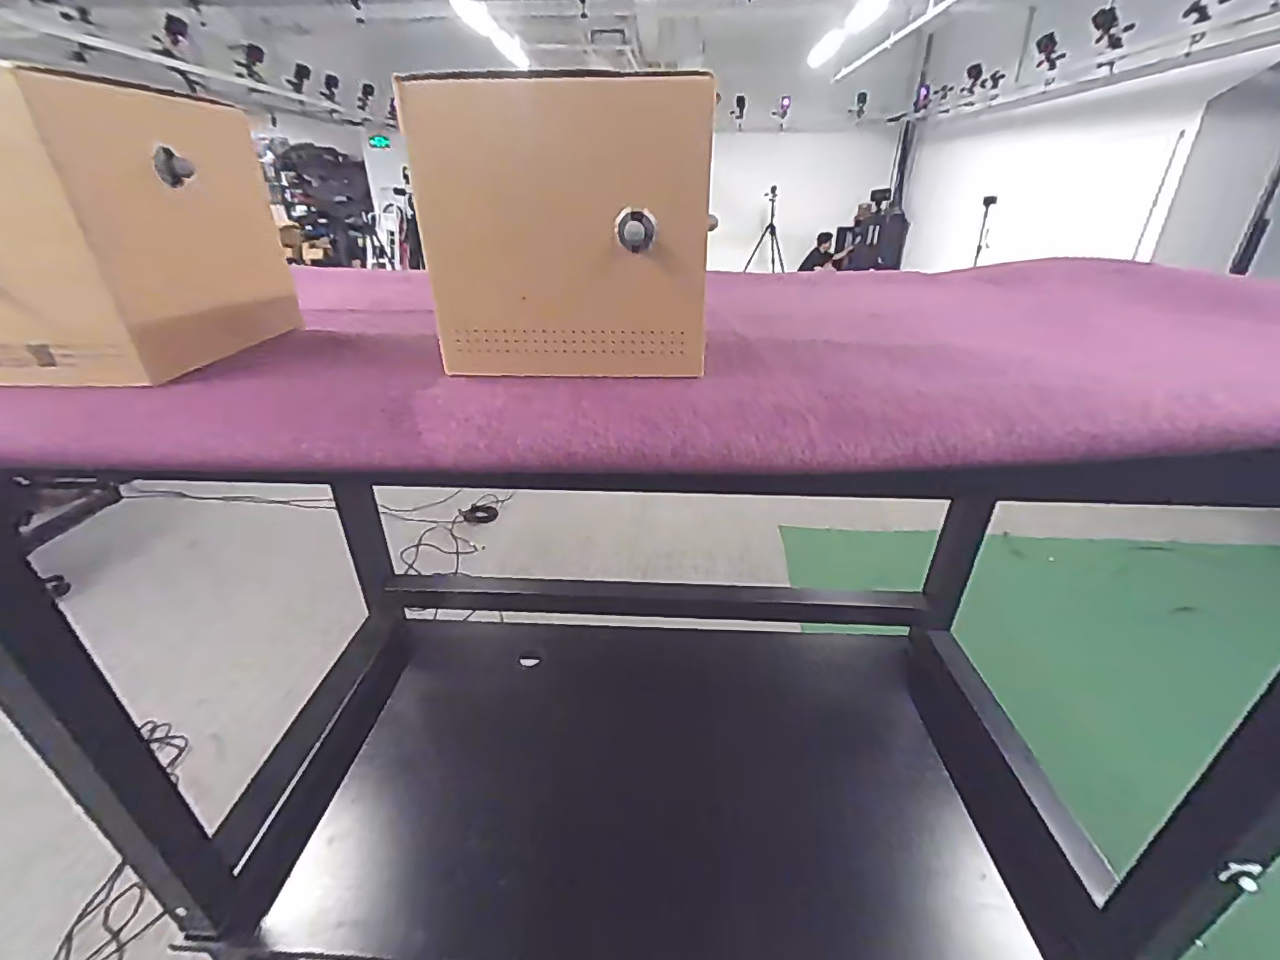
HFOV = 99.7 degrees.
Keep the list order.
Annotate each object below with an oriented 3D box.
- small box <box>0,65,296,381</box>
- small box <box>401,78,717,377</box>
[{"bbox_3d":[-0.384,-0.174,0.383,0.168,0.176,0.179,1,28,0],"label":"small box"},{"bbox_3d":[-0.042,-0.178,0.400,0.179,0.176,0.168,0,27,2],"label":"small box"}]
